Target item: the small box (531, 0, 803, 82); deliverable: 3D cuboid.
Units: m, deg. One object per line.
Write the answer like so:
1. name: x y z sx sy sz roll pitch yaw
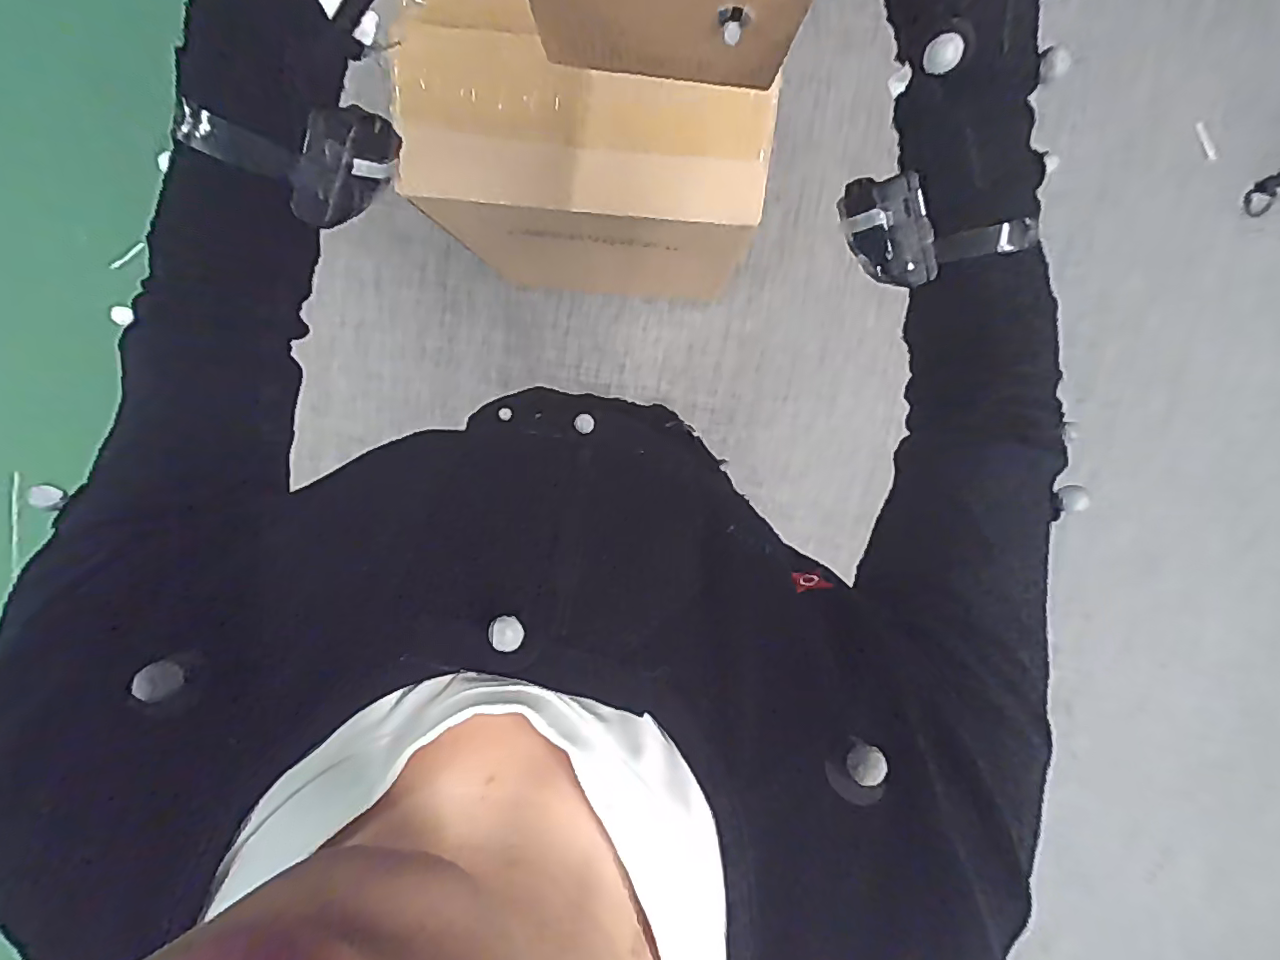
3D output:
1. small box: 0.022 -0.374 0.325 0.179 0.176 0.168 5 101 1
